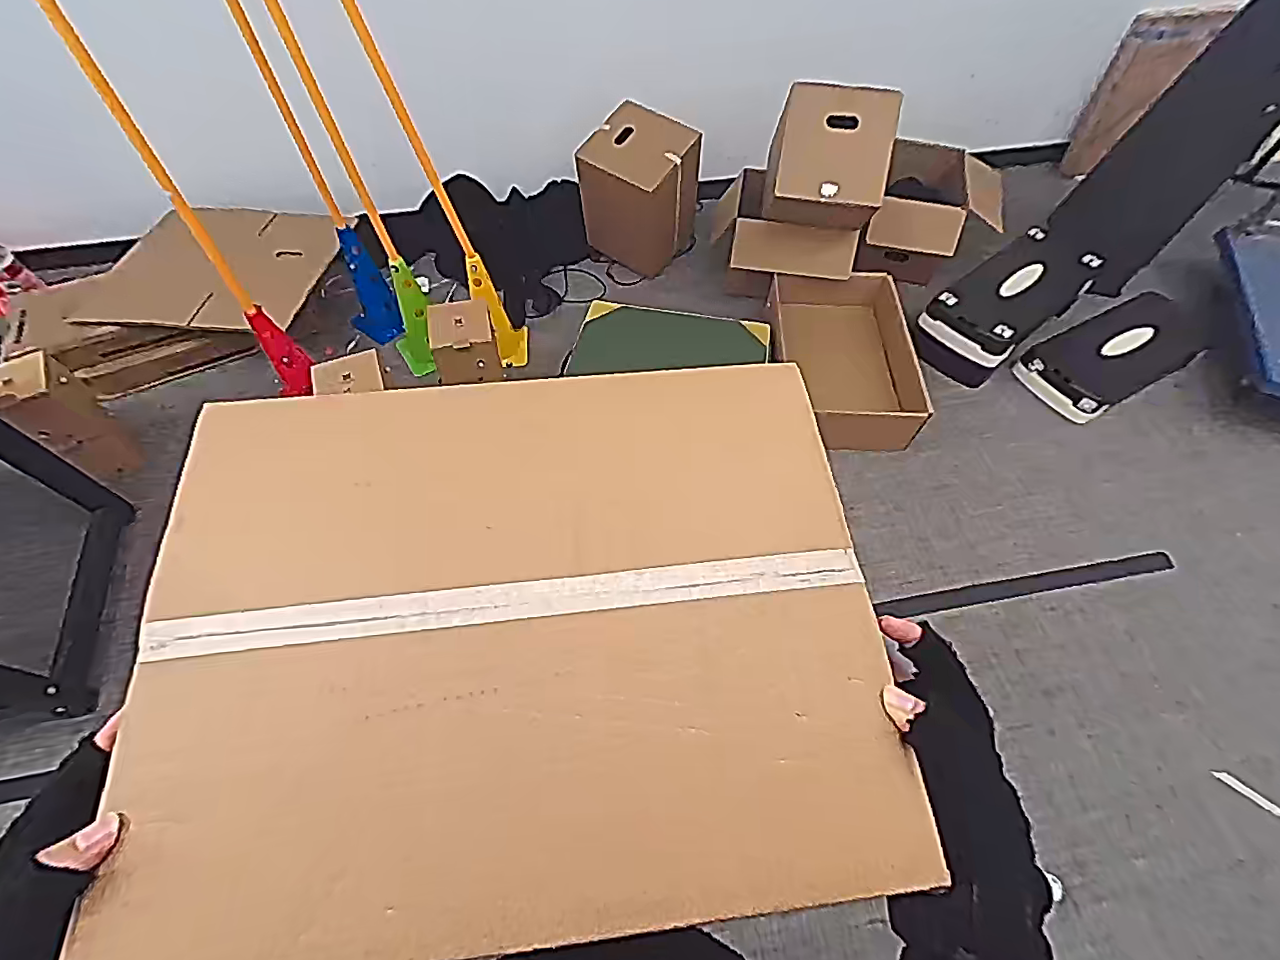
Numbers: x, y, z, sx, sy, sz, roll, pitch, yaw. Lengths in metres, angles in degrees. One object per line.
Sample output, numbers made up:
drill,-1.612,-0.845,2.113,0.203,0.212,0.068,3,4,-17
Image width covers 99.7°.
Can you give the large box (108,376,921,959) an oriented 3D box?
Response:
large box,-0.073,0.143,0.459,0.408,0.320,0.320,-5,65,-5
